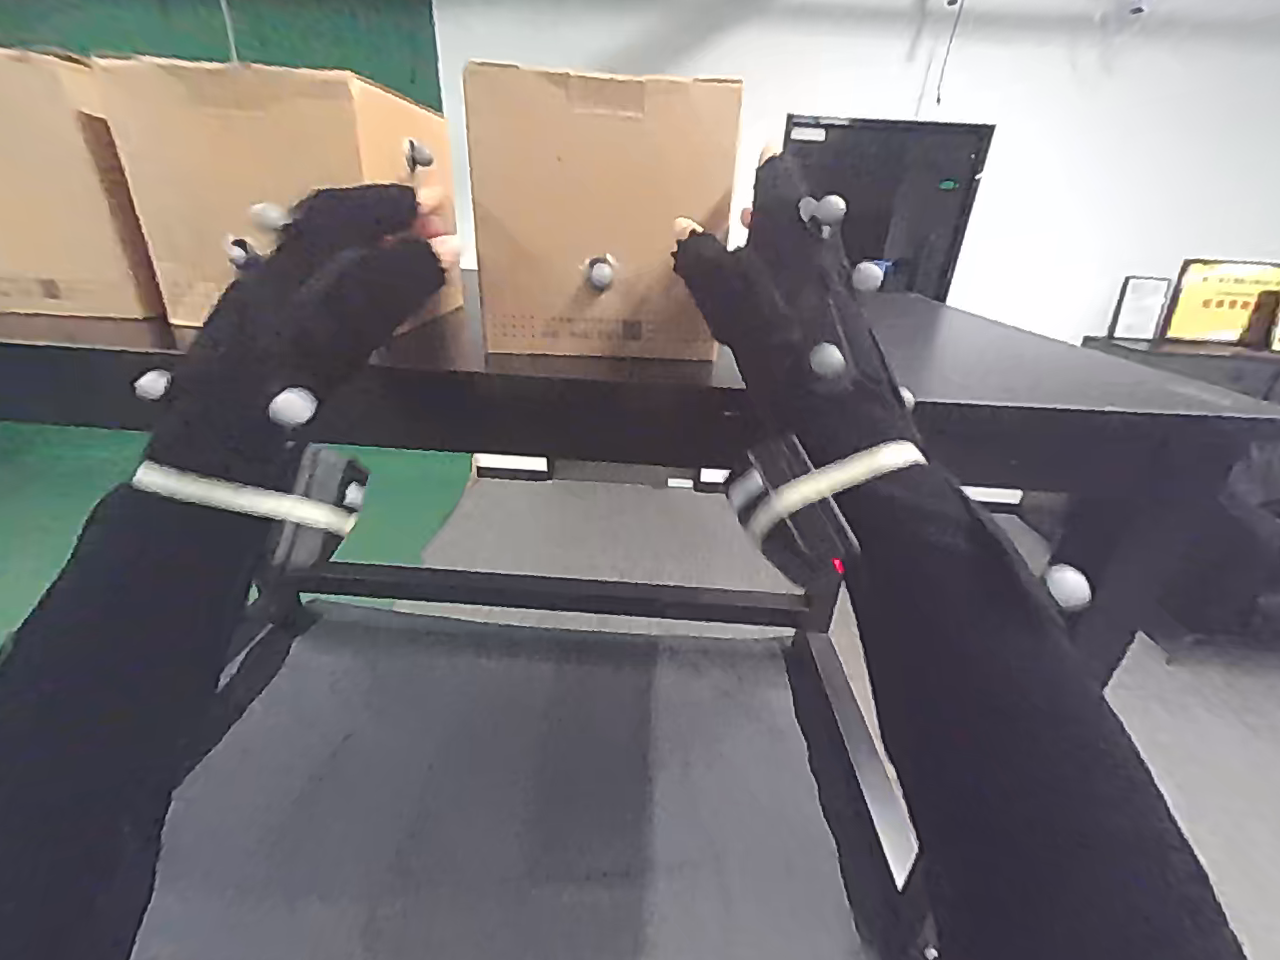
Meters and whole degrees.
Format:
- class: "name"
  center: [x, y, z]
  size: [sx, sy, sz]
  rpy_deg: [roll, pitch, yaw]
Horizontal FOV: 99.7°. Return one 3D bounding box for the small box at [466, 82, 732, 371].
- class: "small box"
  center: [-0.031, -0.193, 0.435]
  size: [0.168, 0.176, 0.179]
  rpy_deg: [0, 25, -4]
